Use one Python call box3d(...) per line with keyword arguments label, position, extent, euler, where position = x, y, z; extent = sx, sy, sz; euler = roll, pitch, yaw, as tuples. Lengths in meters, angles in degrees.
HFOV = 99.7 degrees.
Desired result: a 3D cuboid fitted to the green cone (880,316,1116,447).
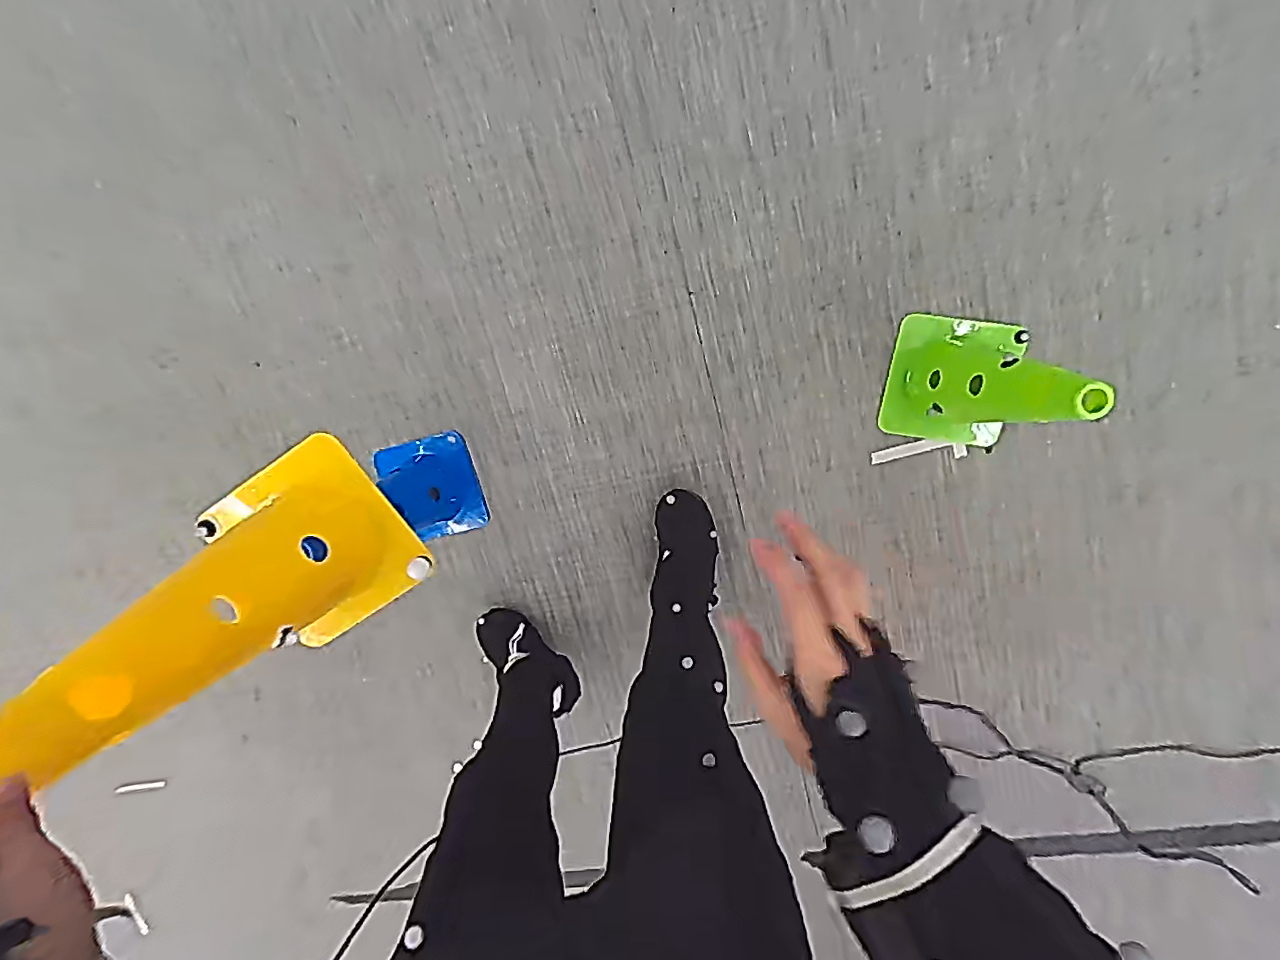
box3d(label="green cone", position=(0.496, -0.120, 0.734), extent=(0.200, 0.368, 0.202), euler=(8, 105, 6))
